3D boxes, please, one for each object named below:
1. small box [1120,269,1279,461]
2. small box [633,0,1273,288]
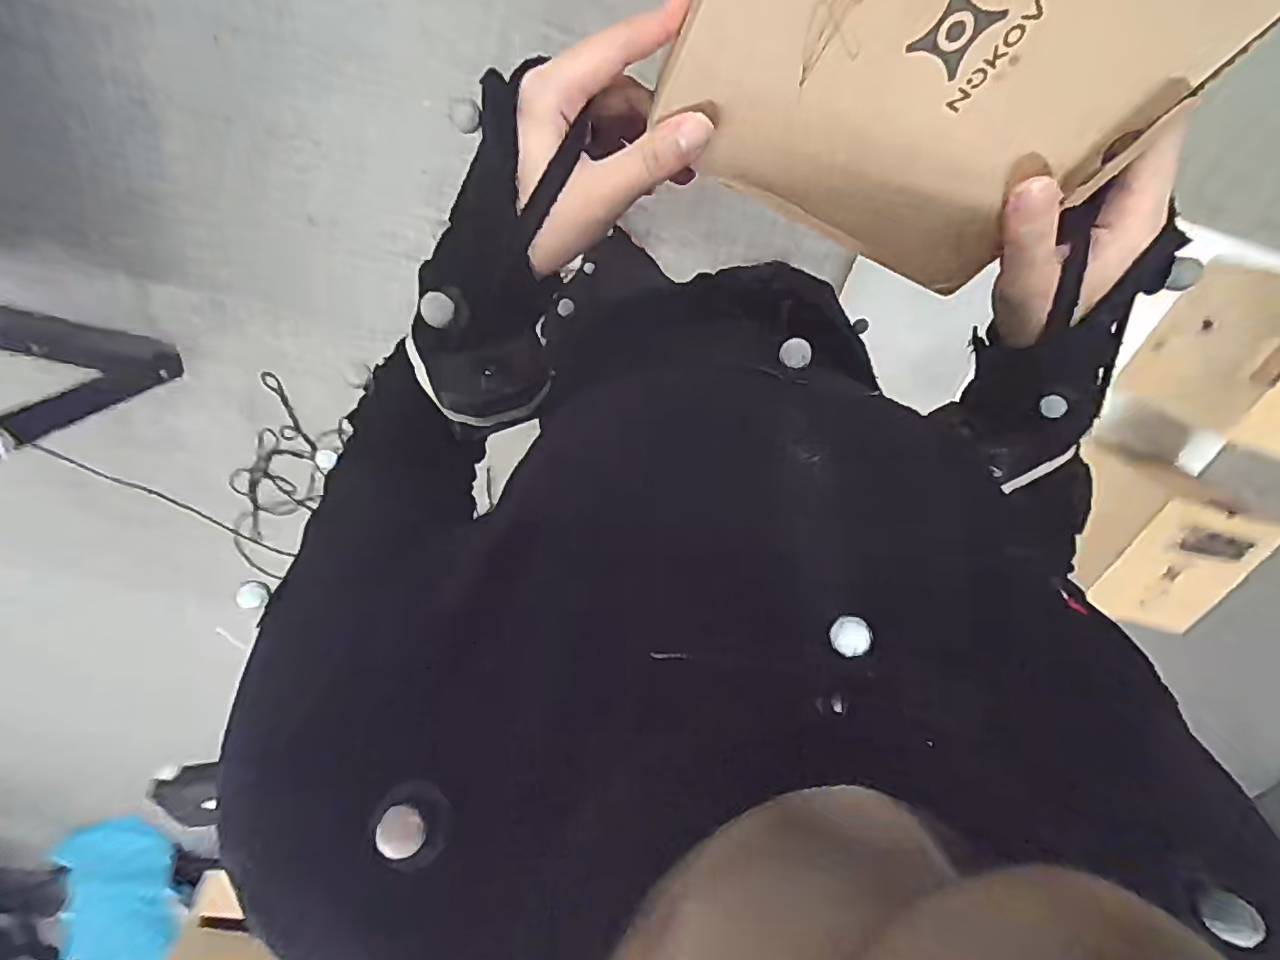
[{"bbox_3d":[0.725,-0.125,0.612,0.179,0.176,0.168,15,119,-6],"label":"small box"},{"bbox_3d":[0.113,-0.223,0.226,0.179,0.176,0.168,17,146,-15],"label":"small box"}]
